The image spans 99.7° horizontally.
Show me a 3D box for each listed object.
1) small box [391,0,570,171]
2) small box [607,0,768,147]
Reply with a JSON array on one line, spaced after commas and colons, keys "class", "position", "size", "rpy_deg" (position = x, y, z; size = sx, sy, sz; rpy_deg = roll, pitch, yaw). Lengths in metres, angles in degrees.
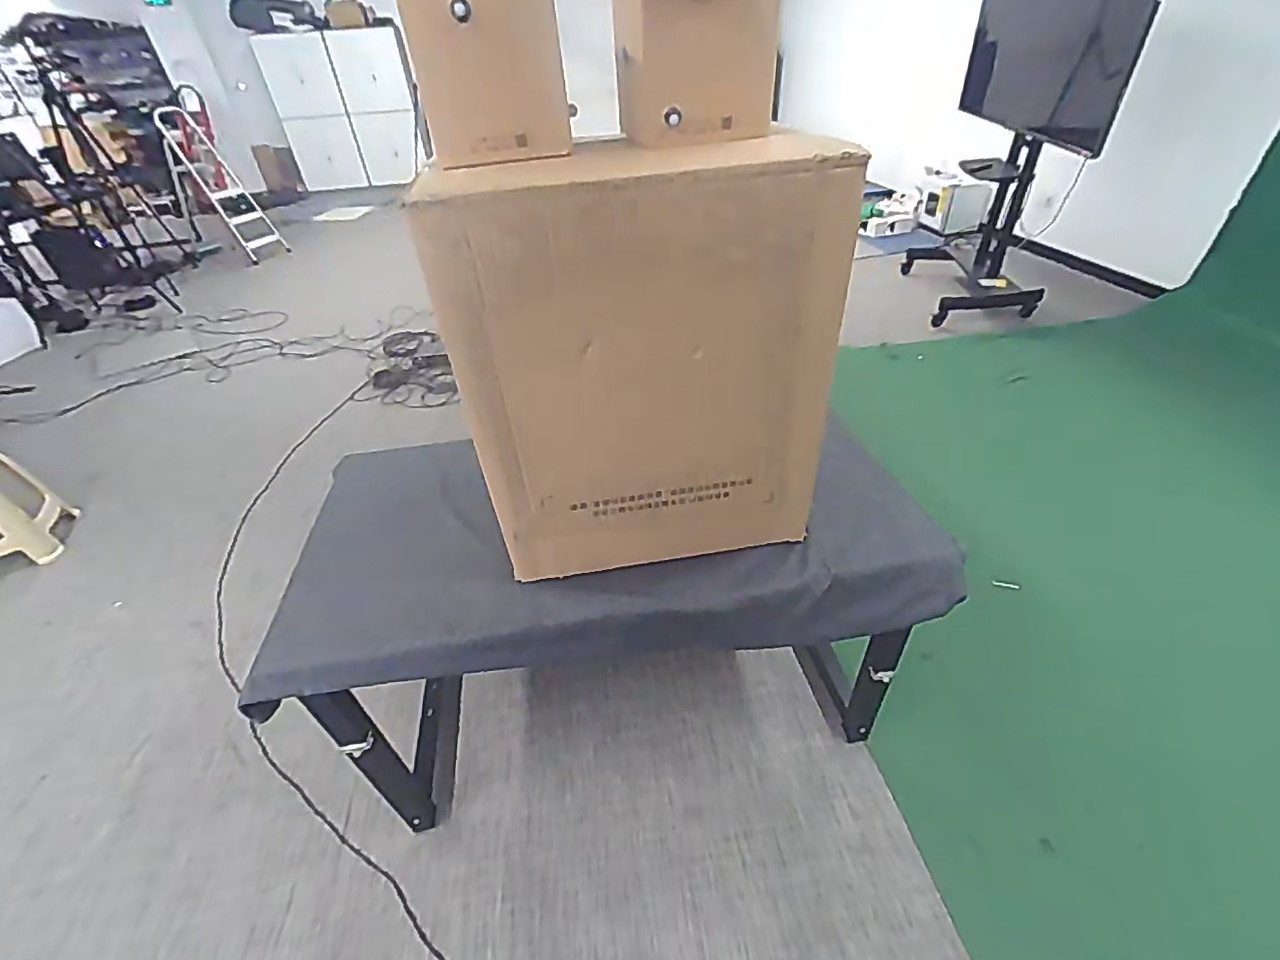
[{"class": "small box", "position": [-0.187, -0.500, 0.681], "size": [0.168, 0.176, 0.179], "rpy_deg": [-11, 39, -4]}, {"class": "small box", "position": [0.059, -0.543, 0.701], "size": [0.168, 0.176, 0.179], "rpy_deg": [-12, 40, -8]}]
